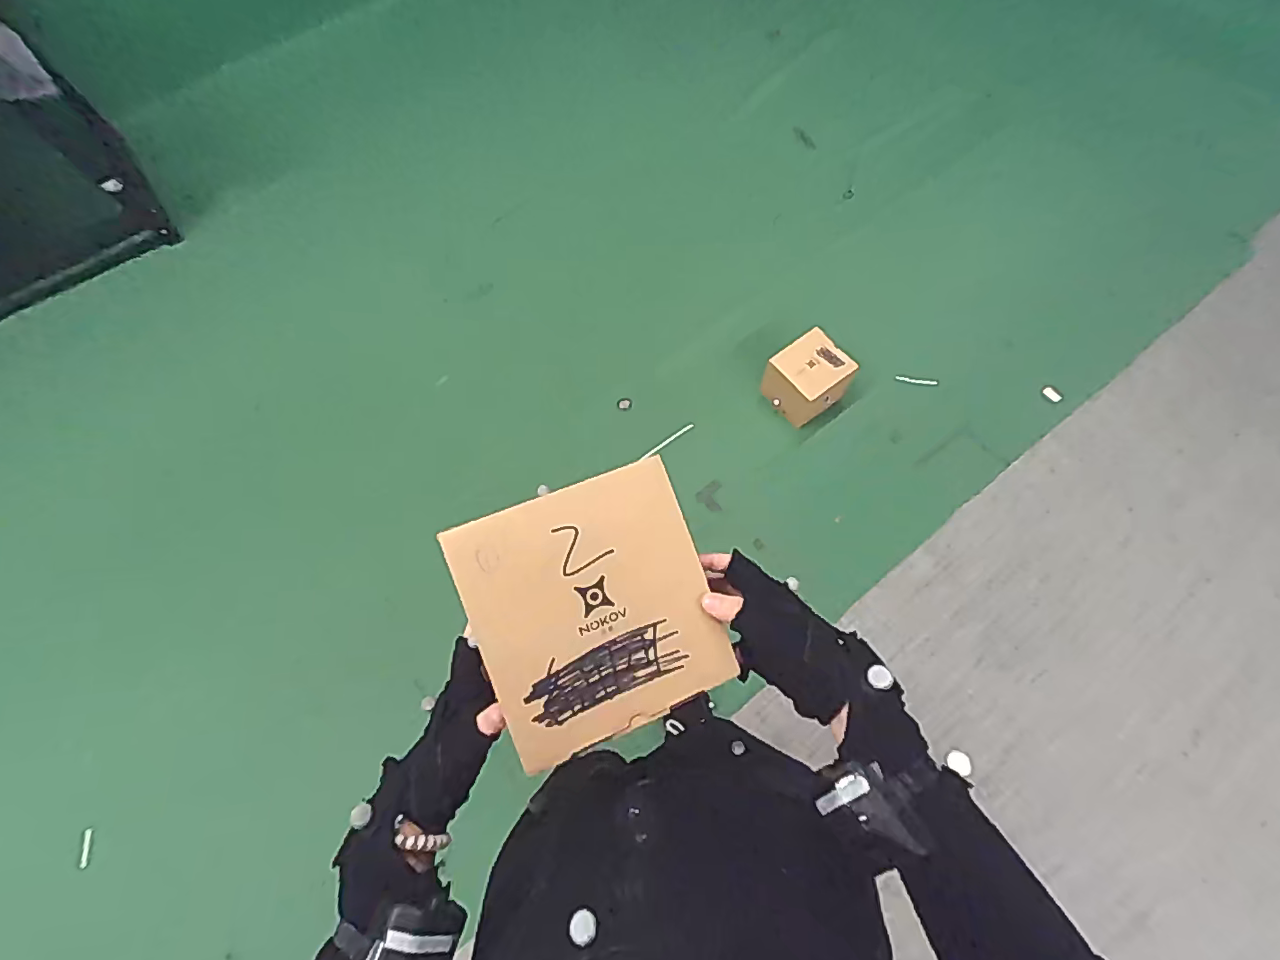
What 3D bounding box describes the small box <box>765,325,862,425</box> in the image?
[{"bbox_3d":[0.468,-0.285,1.493,0.179,0.176,0.168,-35,71,-10],"label":"small box"}]
